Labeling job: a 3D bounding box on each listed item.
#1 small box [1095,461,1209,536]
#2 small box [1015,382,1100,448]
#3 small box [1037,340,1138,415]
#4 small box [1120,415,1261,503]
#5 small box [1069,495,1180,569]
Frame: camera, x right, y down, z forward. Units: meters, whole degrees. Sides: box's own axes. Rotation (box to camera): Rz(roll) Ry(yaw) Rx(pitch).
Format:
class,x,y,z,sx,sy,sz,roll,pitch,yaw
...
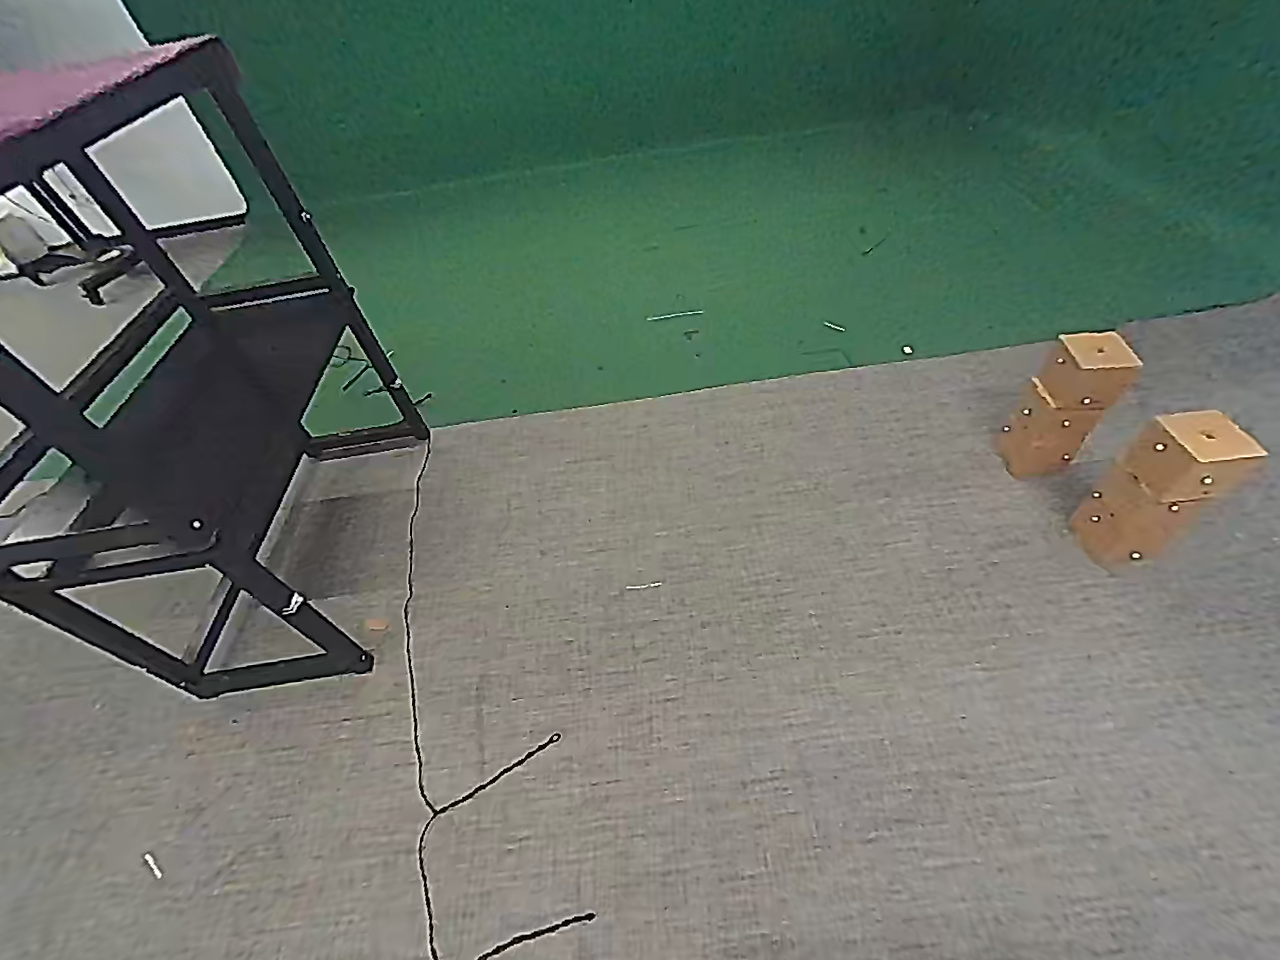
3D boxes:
class,x,y,z,sx,sy,sz,roll,pitch,yaw
small box,1.494,0.052,1.591,0.179,0.176,0.168,-6,47,3
small box,1.427,-0.224,1.856,0.179,0.176,0.168,-4,49,7
small box,1.416,-0.328,1.728,0.168,0.176,0.179,0,48,9
small box,1.477,-0.050,1.466,0.168,0.176,0.179,-7,48,3
small box,1.518,0.159,1.712,0.168,0.176,0.179,-8,47,4
